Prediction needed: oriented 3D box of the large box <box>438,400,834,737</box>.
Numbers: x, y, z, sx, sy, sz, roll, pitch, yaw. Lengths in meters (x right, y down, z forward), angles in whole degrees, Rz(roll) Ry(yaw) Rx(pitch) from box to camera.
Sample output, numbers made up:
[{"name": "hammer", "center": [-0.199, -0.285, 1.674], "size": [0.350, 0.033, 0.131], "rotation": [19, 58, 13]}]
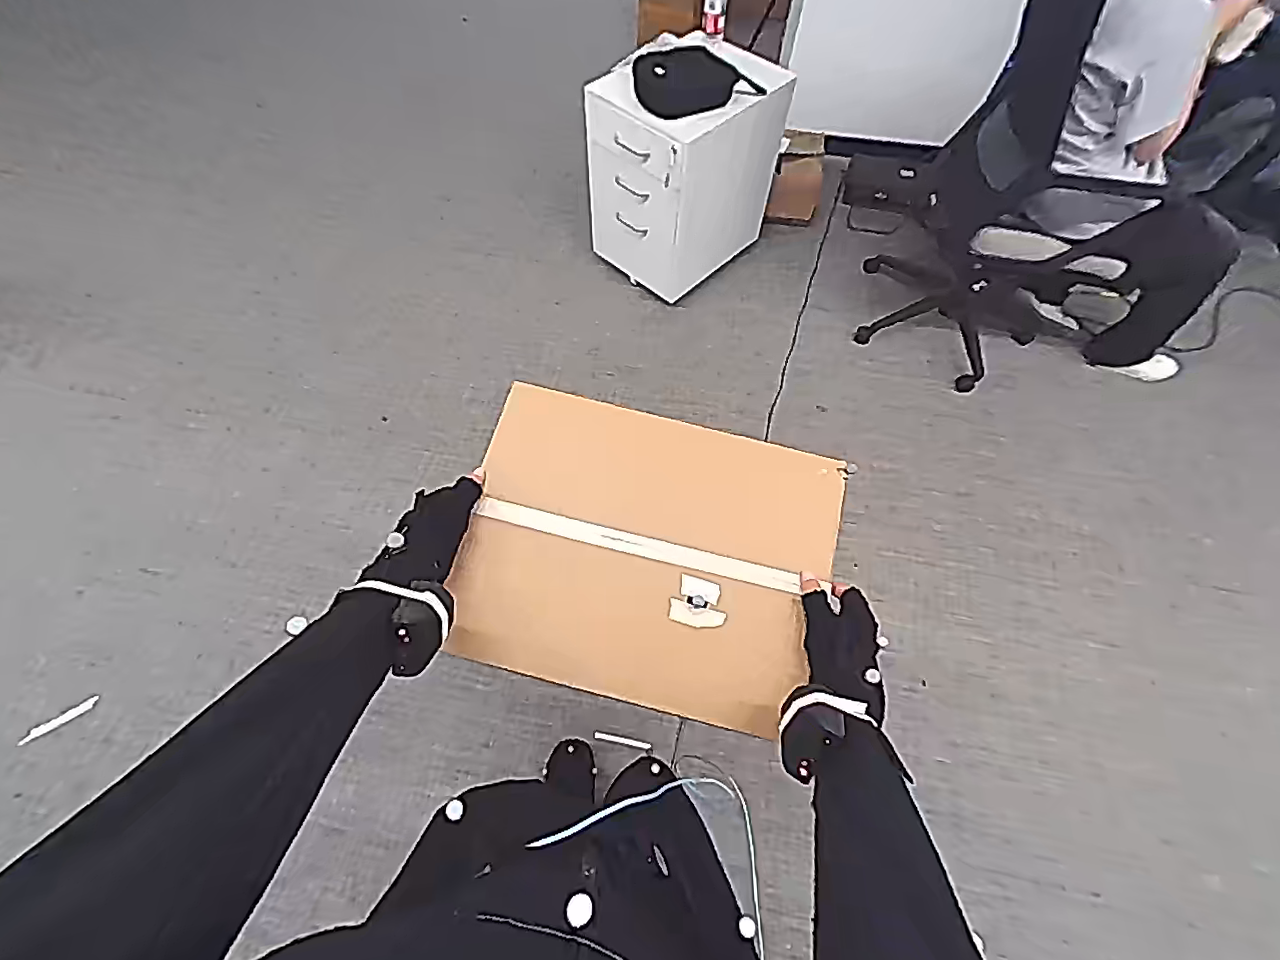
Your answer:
[{"name": "large box", "center": [0.001, 0.131, 0.752], "size": [0.408, 0.320, 0.320], "rotation": [14, 72, 2]}]
